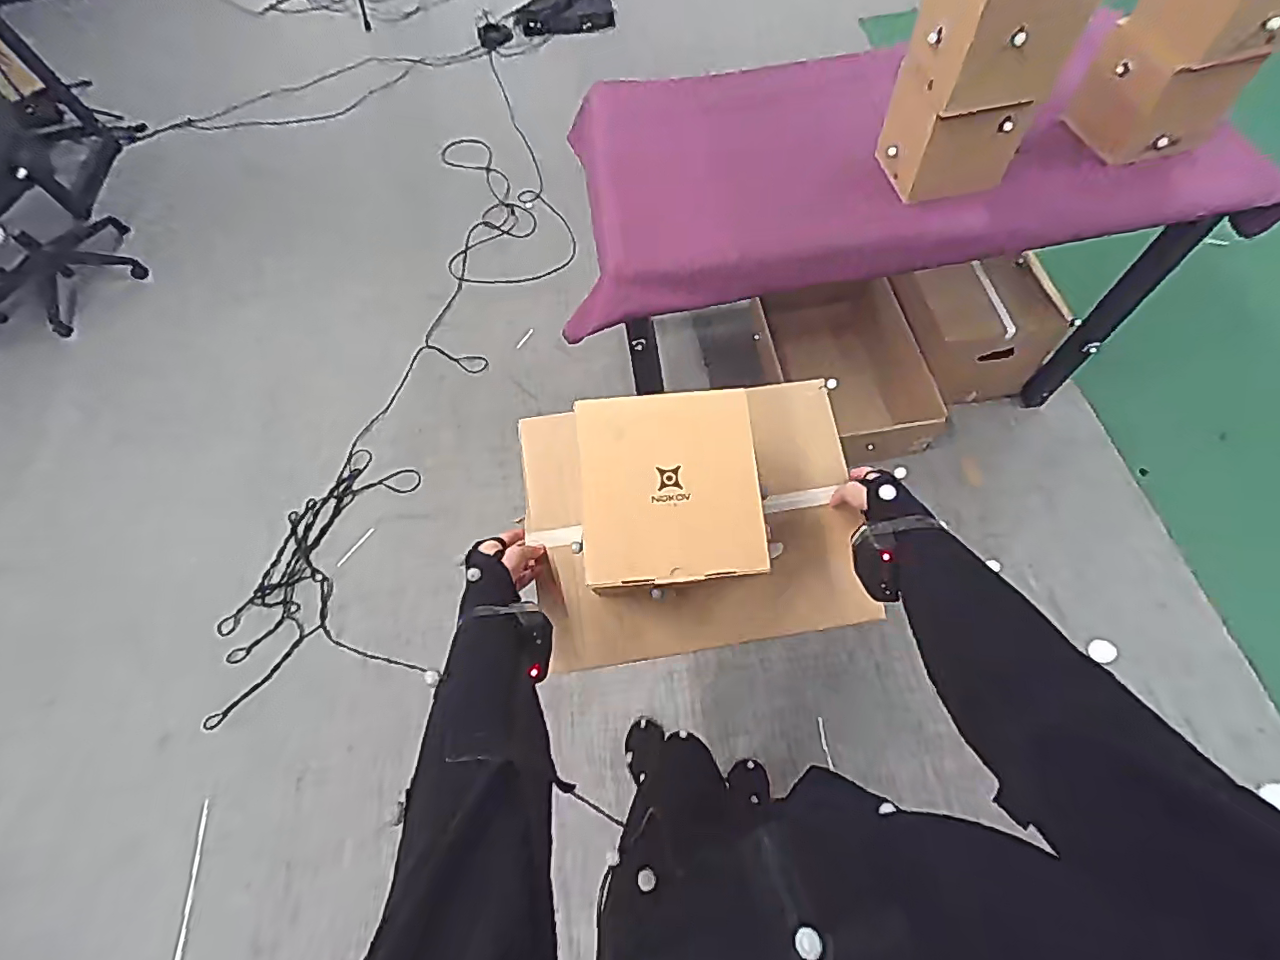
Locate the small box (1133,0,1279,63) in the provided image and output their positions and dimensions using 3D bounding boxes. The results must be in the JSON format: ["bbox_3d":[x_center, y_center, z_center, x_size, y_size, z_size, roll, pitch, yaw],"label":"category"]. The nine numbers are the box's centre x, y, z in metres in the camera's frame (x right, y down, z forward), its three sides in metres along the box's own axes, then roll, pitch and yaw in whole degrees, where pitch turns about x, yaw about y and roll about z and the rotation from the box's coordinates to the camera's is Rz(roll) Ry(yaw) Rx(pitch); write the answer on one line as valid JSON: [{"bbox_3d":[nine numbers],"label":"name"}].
[{"bbox_3d":[0.913,-0.771,0.810,0.168,0.176,0.179,-12,61,3],"label":"small box"}]

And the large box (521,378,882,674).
[{"bbox_3d":[0.062,0.079,0.804,0.408,0.320,0.320,-9,77,-4],"label":"large box"}]

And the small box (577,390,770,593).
[{"bbox_3d":[0.024,0.022,0.566,0.168,0.176,0.179,-5,77,-3],"label":"small box"}]

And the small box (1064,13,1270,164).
[{"bbox_3d":[0.915,-0.702,0.961,0.168,0.176,0.179,-12,61,2],"label":"small box"}]

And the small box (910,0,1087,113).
[{"bbox_3d":[0.534,-0.693,0.818,0.179,0.176,0.168,-11,62,2],"label":"small box"}]

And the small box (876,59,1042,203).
[{"bbox_3d":[0.555,-0.634,0.970,0.179,0.176,0.168,-10,61,2],"label":"small box"}]
